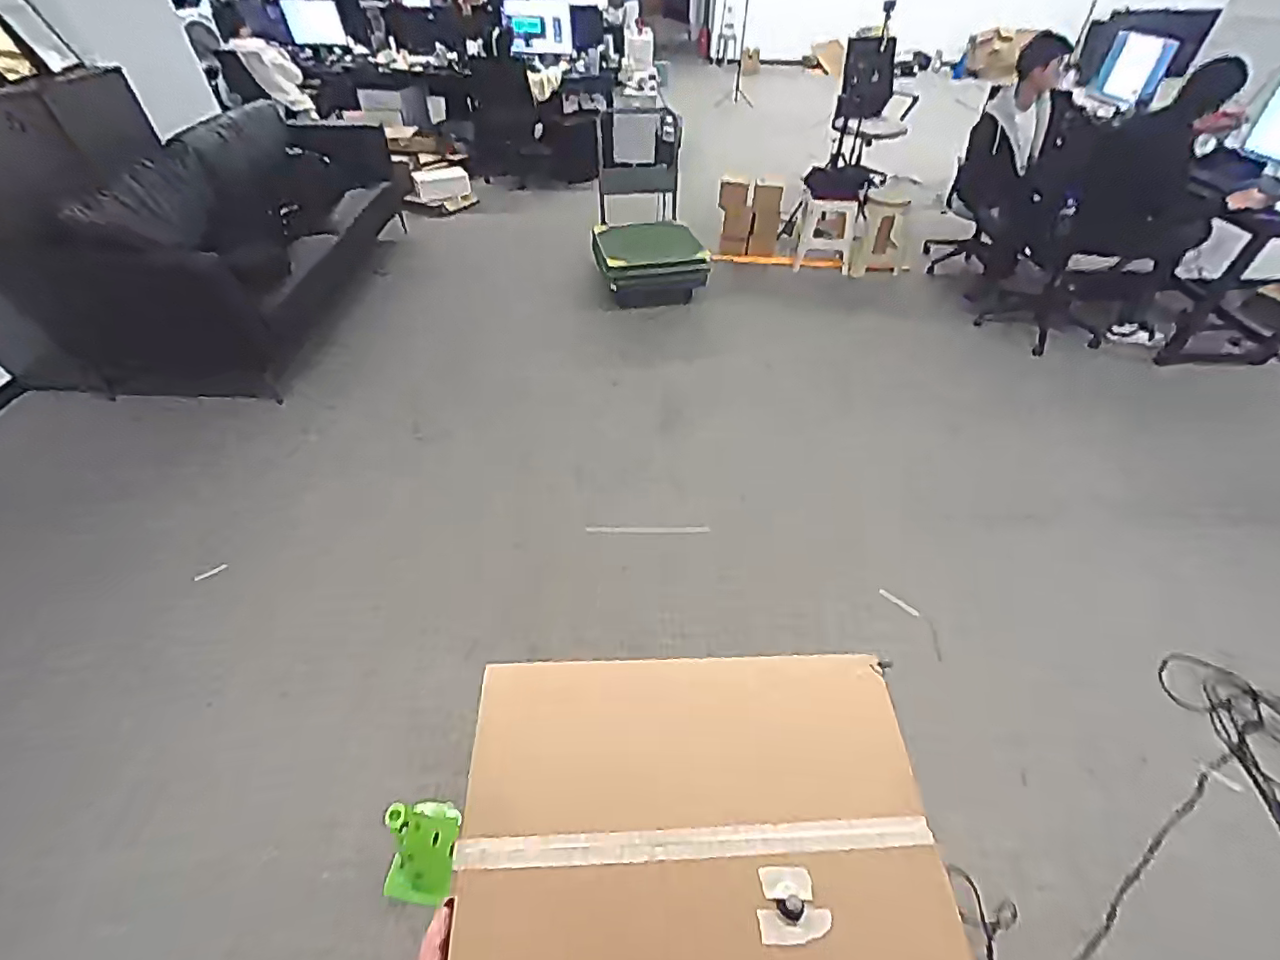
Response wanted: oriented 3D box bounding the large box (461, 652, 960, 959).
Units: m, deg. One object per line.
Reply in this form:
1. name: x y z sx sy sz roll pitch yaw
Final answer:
1. large box: 0.045 0.401 0.593 0.408 0.320 0.320 0 53 -4

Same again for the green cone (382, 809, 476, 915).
1. green cone: -0.496 0.811 1.201 0.200 0.368 0.202 5 46 4
